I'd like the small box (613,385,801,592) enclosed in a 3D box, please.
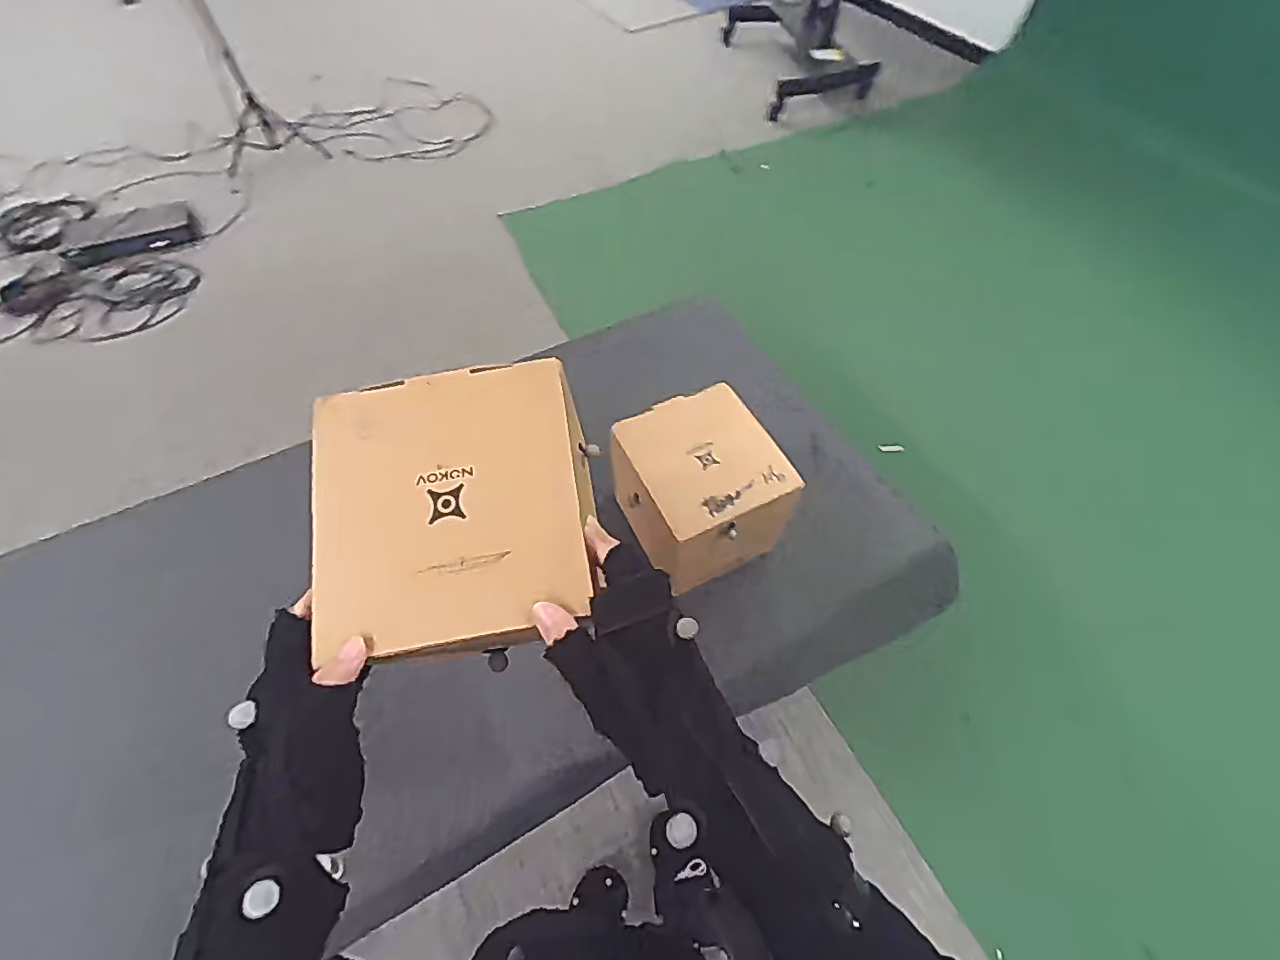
[{"bbox_3d":[0.075,0.015,0.702,0.168,0.176,0.179,-23,60,-13],"label":"small box"}]

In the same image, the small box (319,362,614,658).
[{"bbox_3d":[-0.115,0.036,0.415,0.168,0.176,0.179,-9,73,-1],"label":"small box"}]
